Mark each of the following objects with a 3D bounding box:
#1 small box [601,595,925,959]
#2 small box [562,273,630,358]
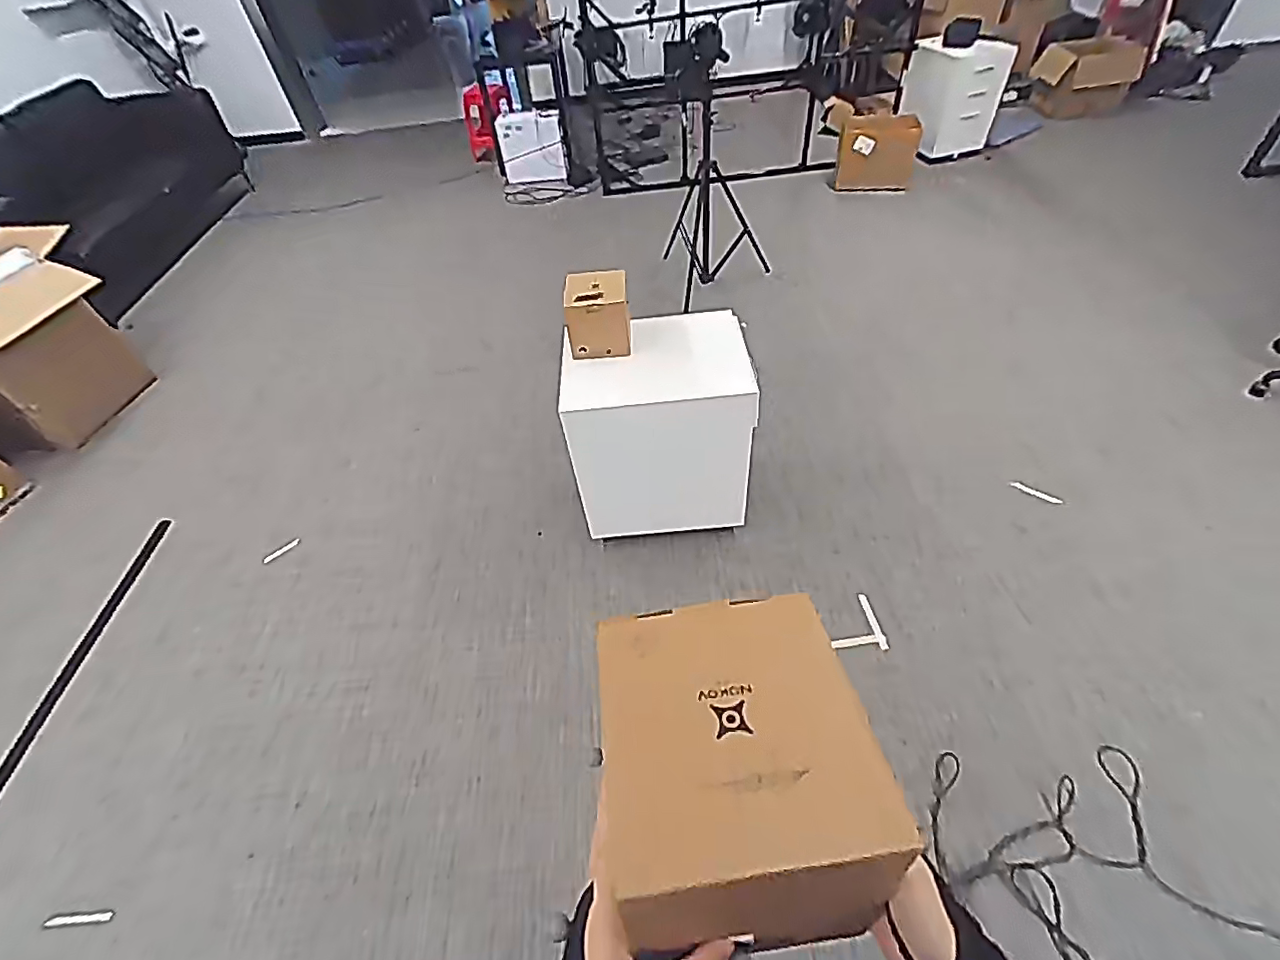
[{"bbox_3d":[0.064,0.213,0.391,0.168,0.176,0.179,-8,38,-3],"label":"small box"},{"bbox_3d":[-0.118,-0.455,1.514,0.168,0.176,0.179,-4,48,2],"label":"small box"}]
